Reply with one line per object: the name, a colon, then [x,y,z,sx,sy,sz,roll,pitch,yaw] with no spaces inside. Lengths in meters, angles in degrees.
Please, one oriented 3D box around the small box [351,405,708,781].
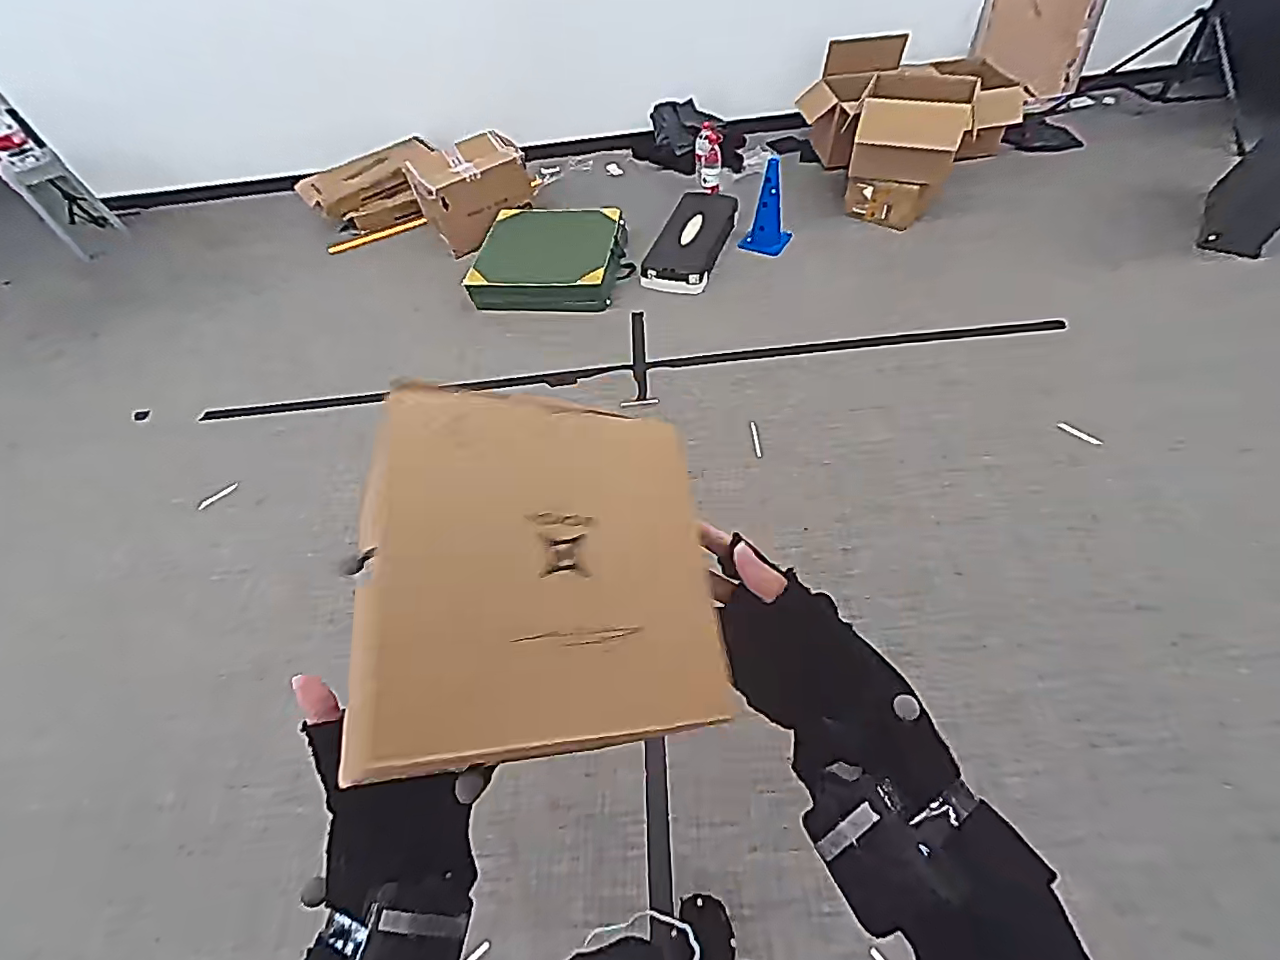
small box: [-0.082,0.080,0.343,0.168,0.176,0.179,5,61,-24]
